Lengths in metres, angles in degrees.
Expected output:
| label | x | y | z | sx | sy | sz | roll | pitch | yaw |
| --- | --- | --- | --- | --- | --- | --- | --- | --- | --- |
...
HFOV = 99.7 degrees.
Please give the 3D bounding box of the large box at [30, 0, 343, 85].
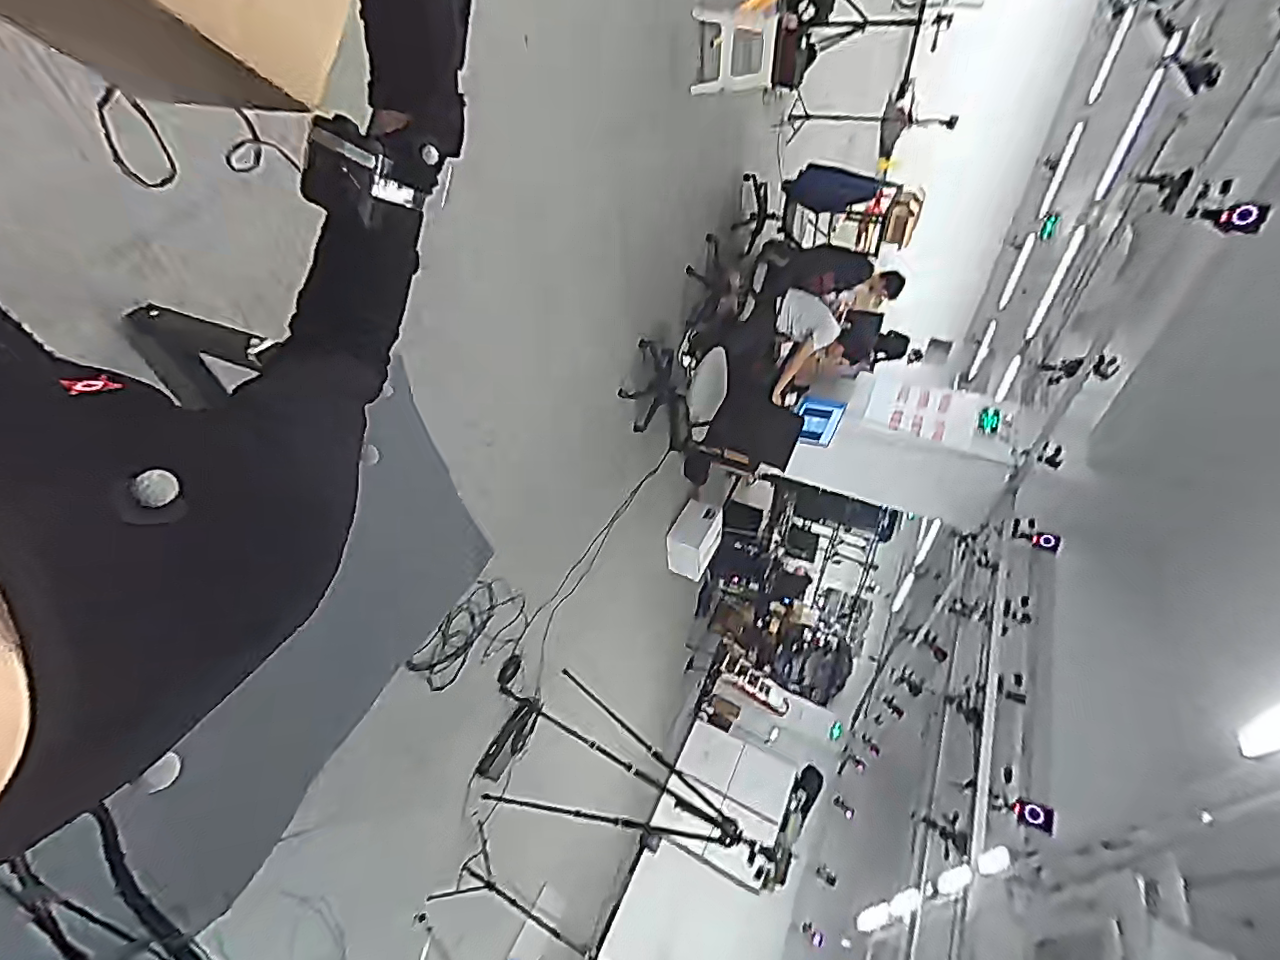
| label | x | y | z | sx | sy | sz | roll | pitch | yaw |
| --- | --- | --- | --- | --- | --- | --- | --- | --- | --- |
| large box | -0.351 | -0.455 | 0.218 | 0.408 | 0.320 | 0.320 | 14 | 101 | -59 |
